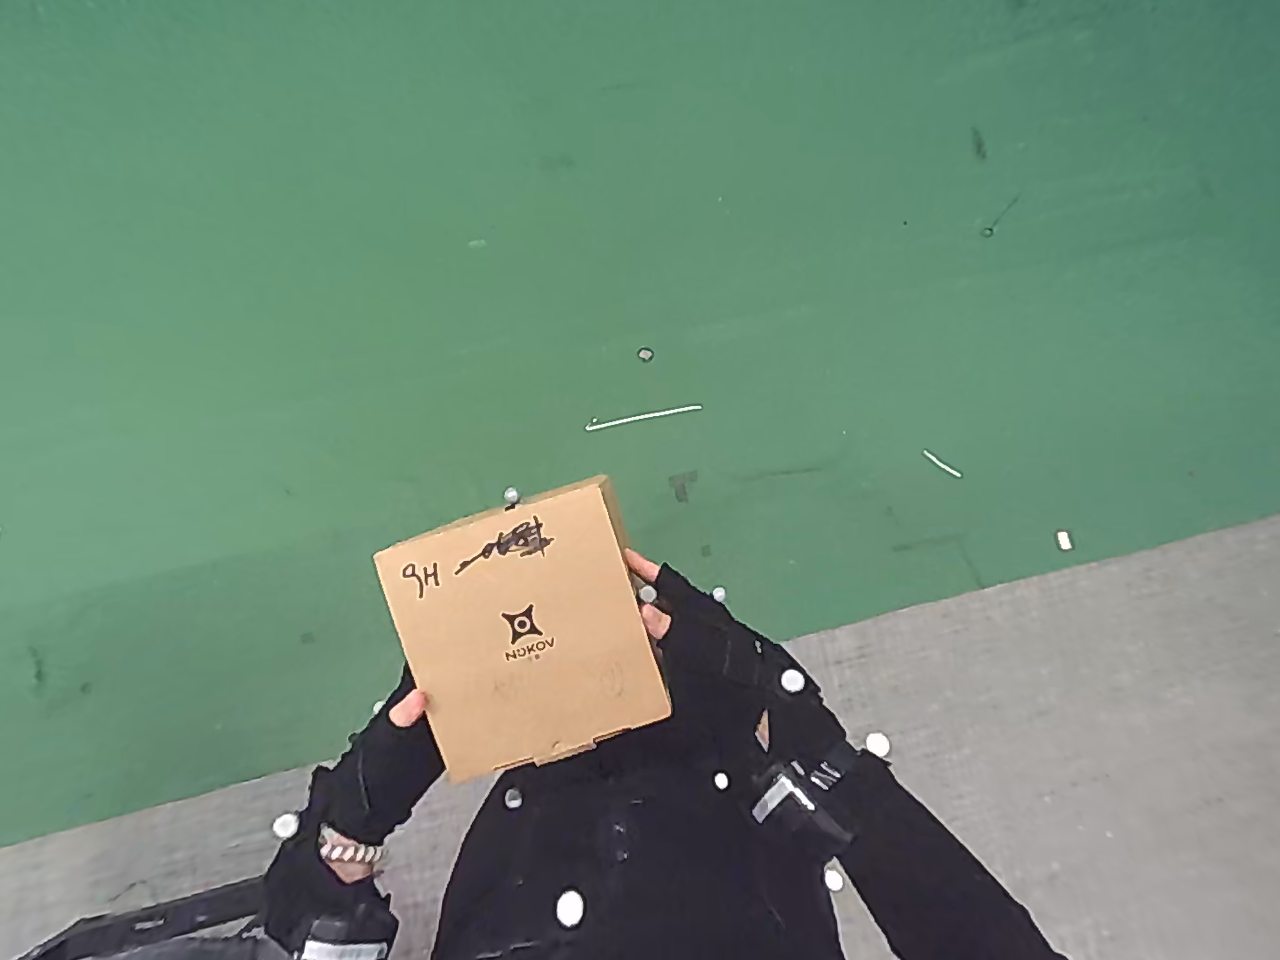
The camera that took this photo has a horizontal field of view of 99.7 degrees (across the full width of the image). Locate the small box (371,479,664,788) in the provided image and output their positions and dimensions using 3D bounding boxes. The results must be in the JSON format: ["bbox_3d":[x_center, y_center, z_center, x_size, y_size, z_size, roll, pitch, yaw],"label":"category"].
[{"bbox_3d":[-0.083,0.108,0.454,0.168,0.176,0.179,-17,94,0],"label":"small box"}]
